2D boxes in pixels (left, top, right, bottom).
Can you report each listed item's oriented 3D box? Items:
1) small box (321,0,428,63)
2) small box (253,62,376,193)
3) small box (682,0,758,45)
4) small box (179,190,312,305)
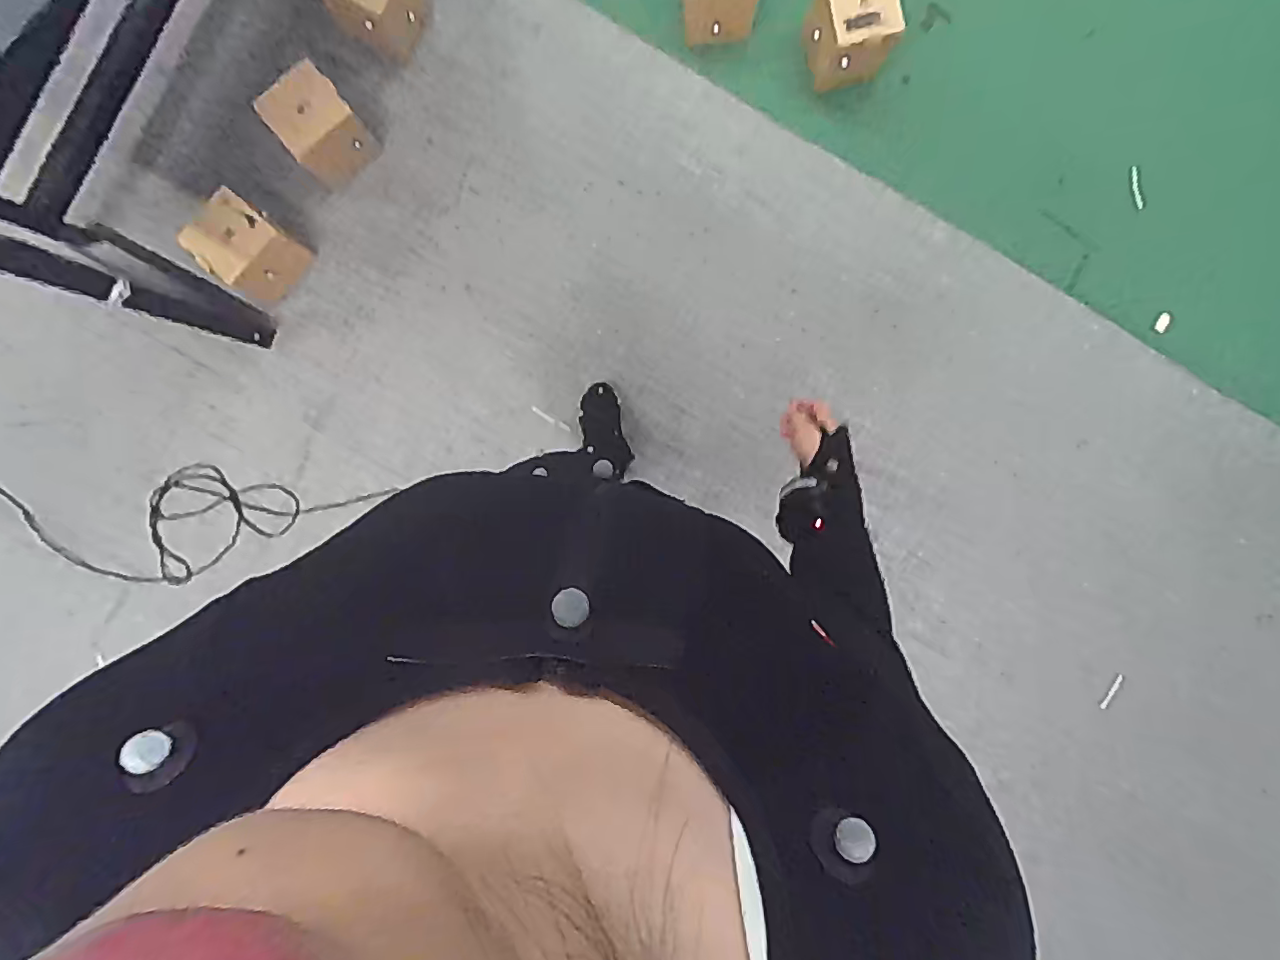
[{"bbox_3d":[-0.653,-1.185,1.331,0.179,0.176,0.168,24,91,-2],"label":"small box"},{"bbox_3d":[-0.792,-0.864,1.344,0.179,0.176,0.168,-40,92,2],"label":"small box"},{"bbox_3d":[0.195,-1.243,1.350,0.168,0.176,0.179,-6,93,-1],"label":"small box"},{"bbox_3d":[-0.974,-0.569,1.354,0.168,0.176,0.179,41,92,-3],"label":"small box"}]
